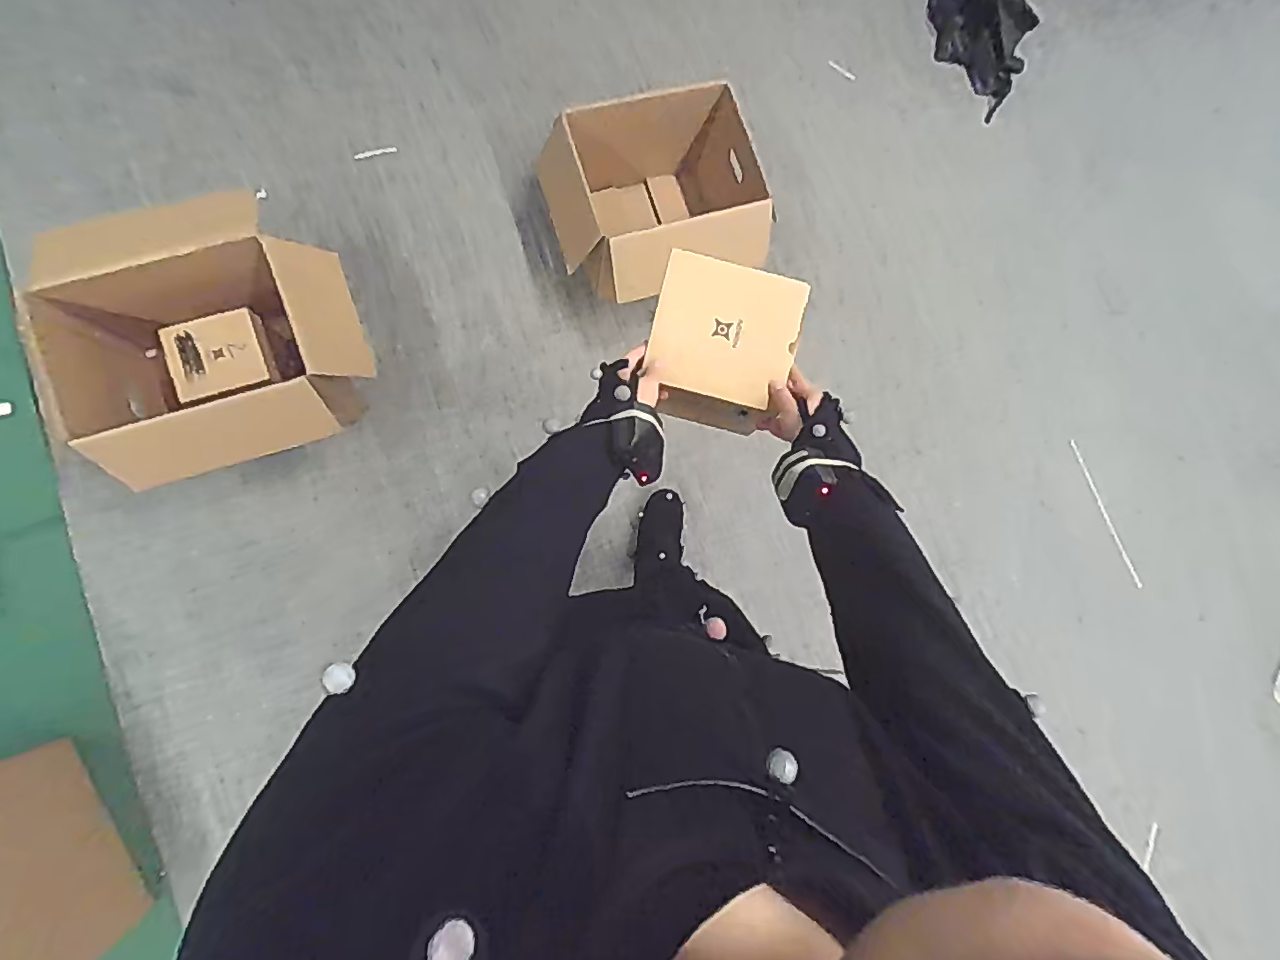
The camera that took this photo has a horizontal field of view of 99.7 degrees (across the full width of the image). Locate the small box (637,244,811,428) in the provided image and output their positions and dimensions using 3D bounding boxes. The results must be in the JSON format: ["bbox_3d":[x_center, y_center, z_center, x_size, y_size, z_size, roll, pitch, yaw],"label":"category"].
[{"bbox_3d":[0.098,-0.175,0.714,0.179,0.176,0.168,14,86,-2],"label":"small box"}]
